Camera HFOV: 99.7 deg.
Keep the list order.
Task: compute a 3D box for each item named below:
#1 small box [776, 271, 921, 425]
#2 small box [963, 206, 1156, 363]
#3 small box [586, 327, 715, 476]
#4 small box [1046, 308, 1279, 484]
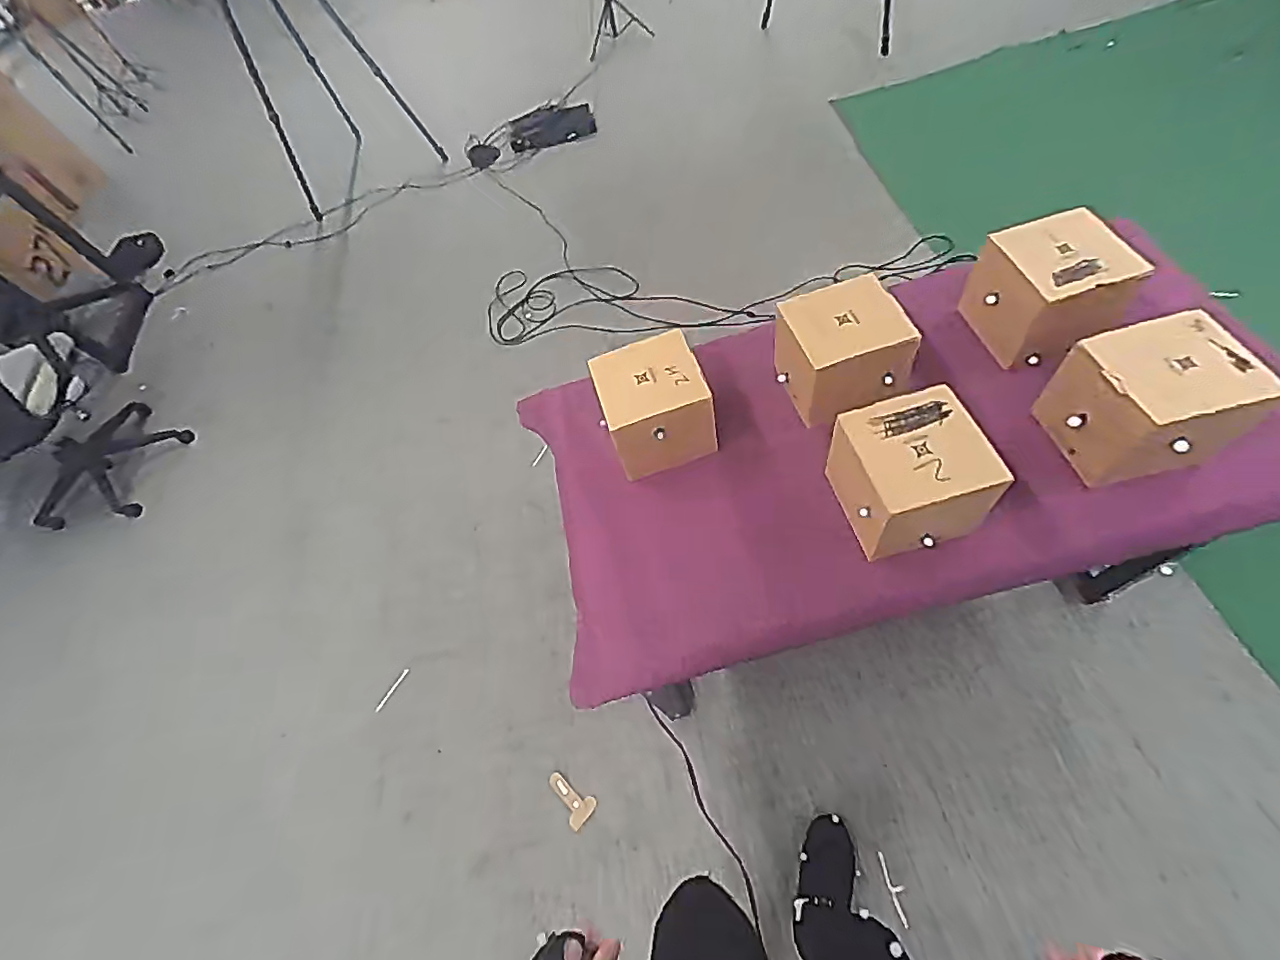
[{"bbox_3d":[0.347,-0.223,0.940,0.179,0.176,0.168,-17,58,3],"label":"small box"},{"bbox_3d":[0.692,-0.321,0.920,0.168,0.176,0.179,-15,57,3],"label":"small box"},{"bbox_3d":[0.023,-0.130,0.953,0.179,0.176,0.168,-18,59,2],"label":"small box"},{"bbox_3d":[0.739,-0.113,0.788,0.179,0.176,0.168,-14,58,5],"label":"small box"}]
